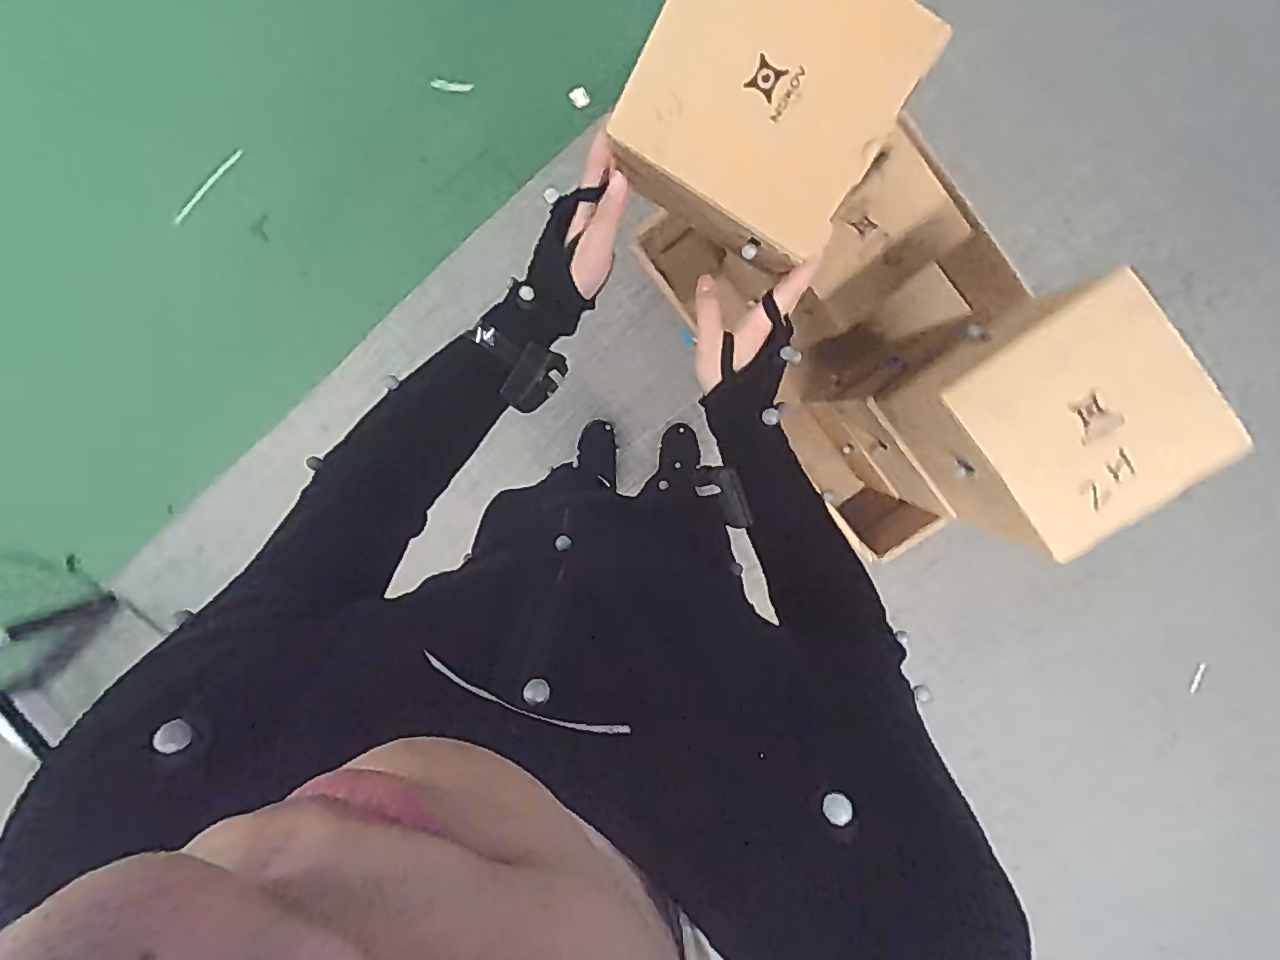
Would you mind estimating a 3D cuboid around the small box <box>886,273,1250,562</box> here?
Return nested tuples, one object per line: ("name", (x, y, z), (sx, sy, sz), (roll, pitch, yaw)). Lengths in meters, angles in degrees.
("small box", (0.366, -0.054, 0.506), (0.168, 0.176, 0.179), (-36, 92, 10))

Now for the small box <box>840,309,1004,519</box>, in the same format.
("small box", (0.377, -0.077, 0.670), (0.168, 0.176, 0.179), (-37, 90, 10))

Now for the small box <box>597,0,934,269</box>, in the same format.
("small box", (0.087, -0.292, 0.448), (0.179, 0.176, 0.168), (29, 107, -5))
